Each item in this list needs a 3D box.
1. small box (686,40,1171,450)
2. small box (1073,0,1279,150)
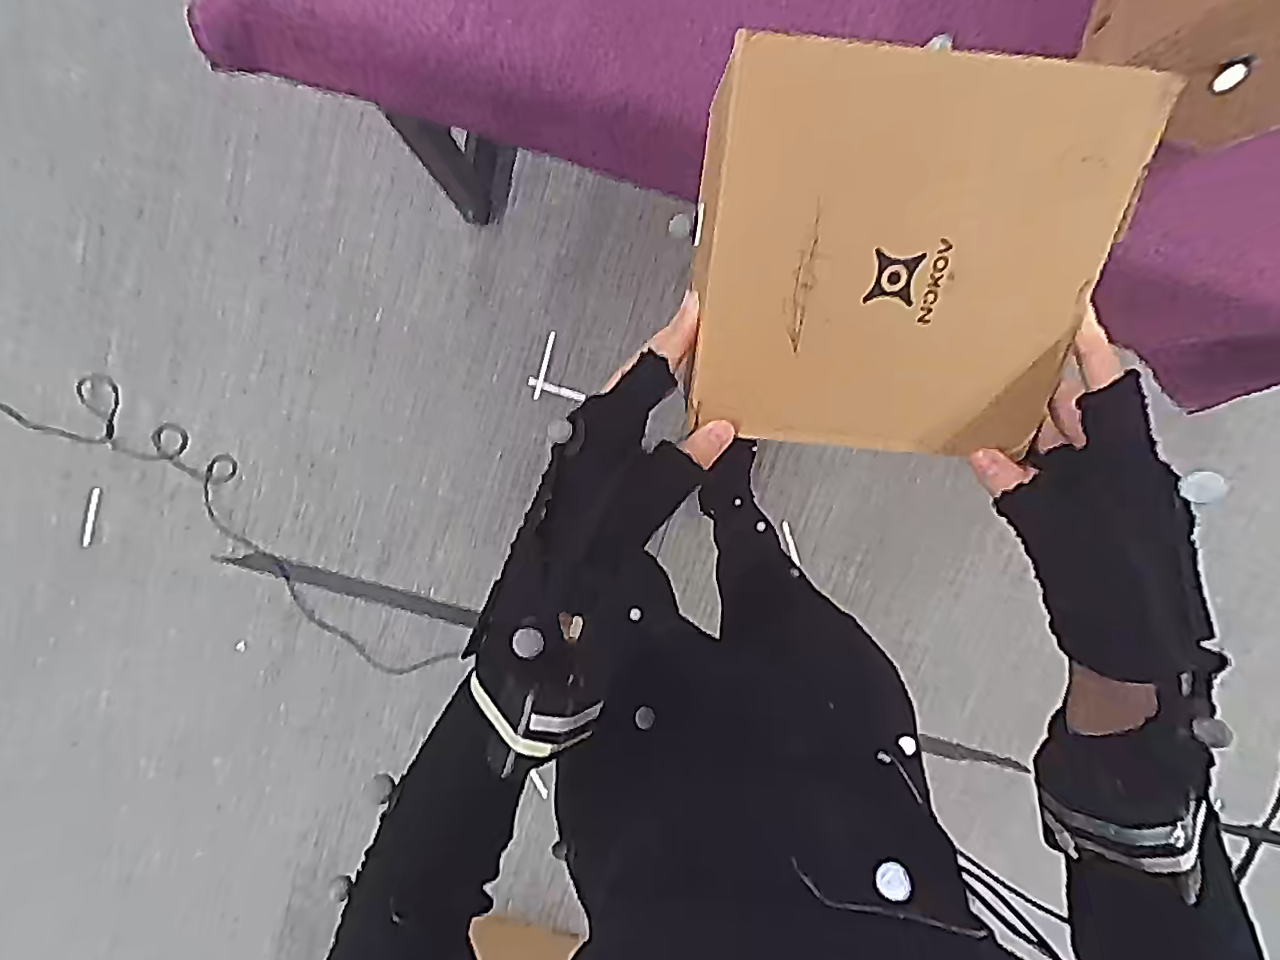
[{"bbox_3d":[0.123,-0.127,0.320,0.179,0.176,0.168,4,114,1],"label":"small box"},{"bbox_3d":[0.524,-0.421,0.465,0.179,0.176,0.168,14,98,-6],"label":"small box"}]
